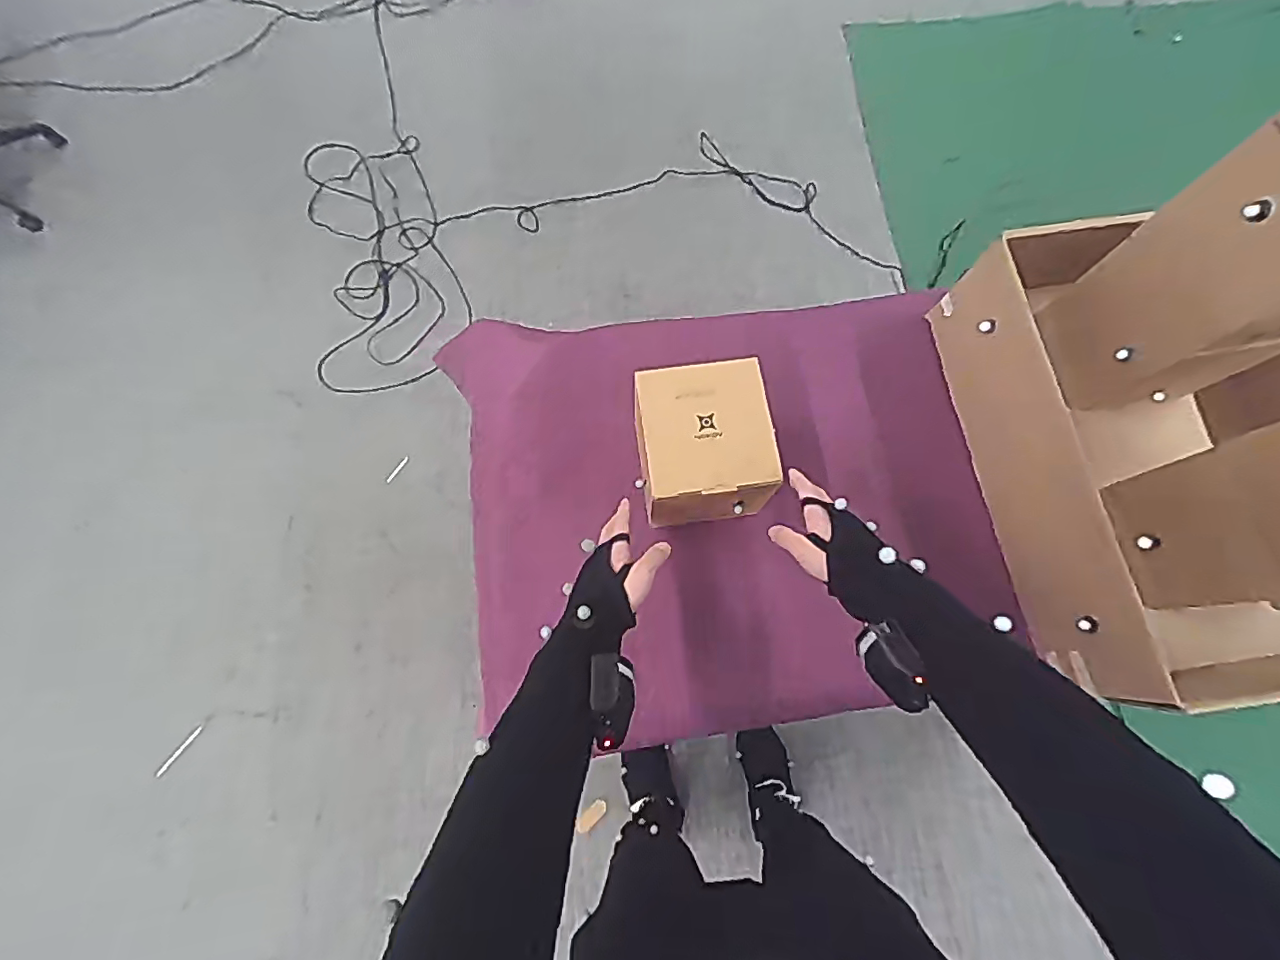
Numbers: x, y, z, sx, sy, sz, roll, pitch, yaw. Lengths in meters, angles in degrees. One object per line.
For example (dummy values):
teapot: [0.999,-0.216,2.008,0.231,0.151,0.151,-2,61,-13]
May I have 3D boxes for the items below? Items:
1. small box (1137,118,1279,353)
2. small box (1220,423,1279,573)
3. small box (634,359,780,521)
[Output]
small box: [0.713,-0.264,0.591,0.168,0.176,0.179,-9,75,-1]
small box: [0.741,0.008,0.513,0.168,0.176,0.179,-8,72,0]
small box: [0.083,-0.045,0.758,0.168,0.176,0.179,-7,73,-3]
